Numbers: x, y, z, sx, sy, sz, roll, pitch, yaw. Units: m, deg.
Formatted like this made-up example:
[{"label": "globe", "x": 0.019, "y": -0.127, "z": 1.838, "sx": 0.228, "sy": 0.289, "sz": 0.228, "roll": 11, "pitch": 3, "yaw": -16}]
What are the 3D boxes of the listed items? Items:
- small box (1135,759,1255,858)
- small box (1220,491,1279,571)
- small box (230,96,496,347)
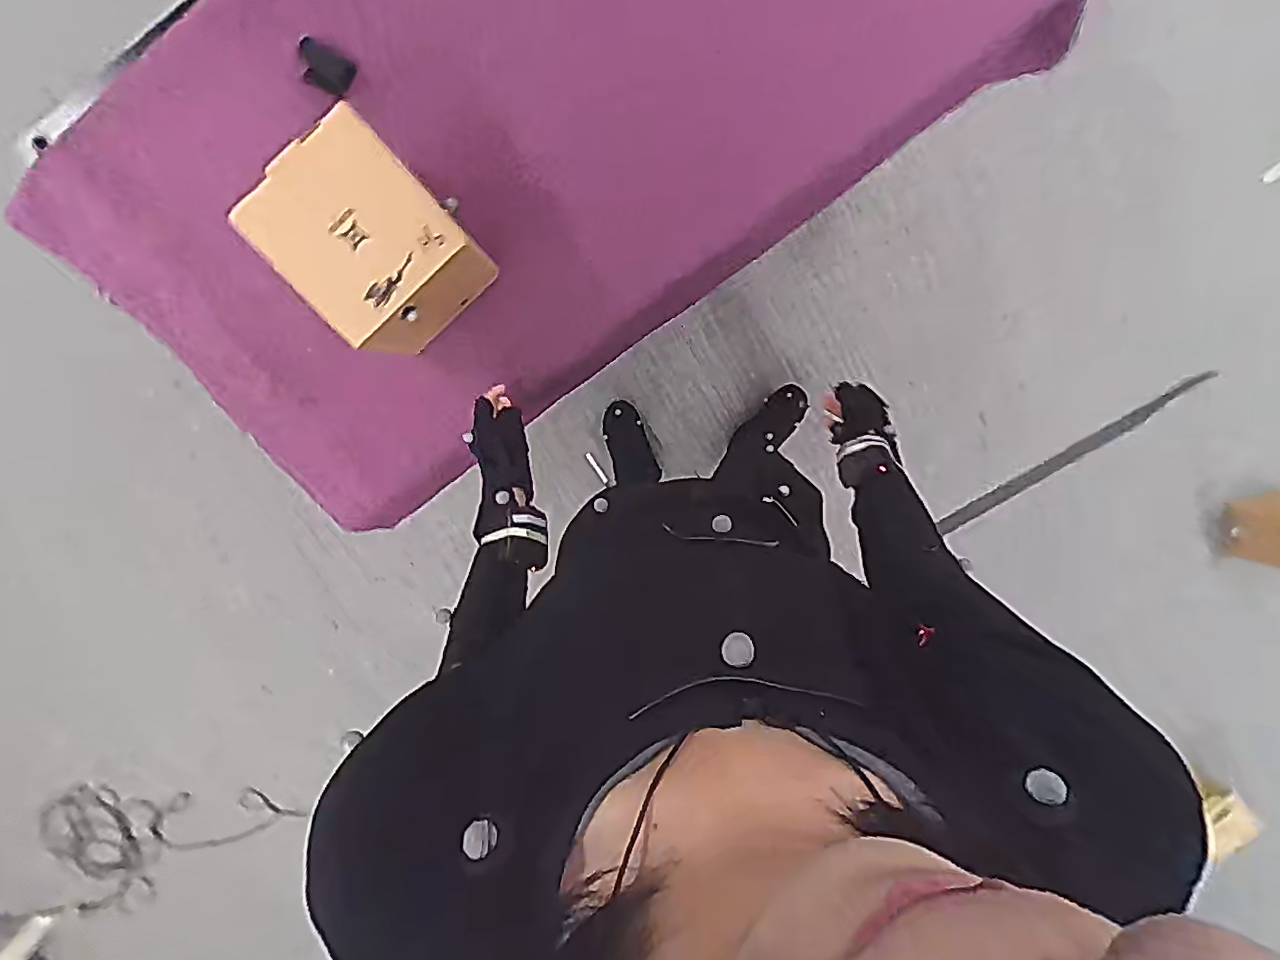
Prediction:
[{"label": "small box", "x": 1.725, "y": 1.013, "z": 1.690, "sx": 0.168, "sy": 0.176, "sz": 0.179, "roll": -44, "pitch": 100, "yaw": 5}, {"label": "small box", "x": 1.825, "y": 0.140, "z": 1.537, "sx": 0.179, "sy": 0.176, "sz": 0.168, "roll": -17, "pitch": 99, "yaw": 1}, {"label": "small box", "x": -0.296, "y": -0.272, "z": 0.622, "sx": 0.168, "sy": 0.176, "sz": 0.179, "roll": -42, "pitch": 98, "yaw": 5}]
